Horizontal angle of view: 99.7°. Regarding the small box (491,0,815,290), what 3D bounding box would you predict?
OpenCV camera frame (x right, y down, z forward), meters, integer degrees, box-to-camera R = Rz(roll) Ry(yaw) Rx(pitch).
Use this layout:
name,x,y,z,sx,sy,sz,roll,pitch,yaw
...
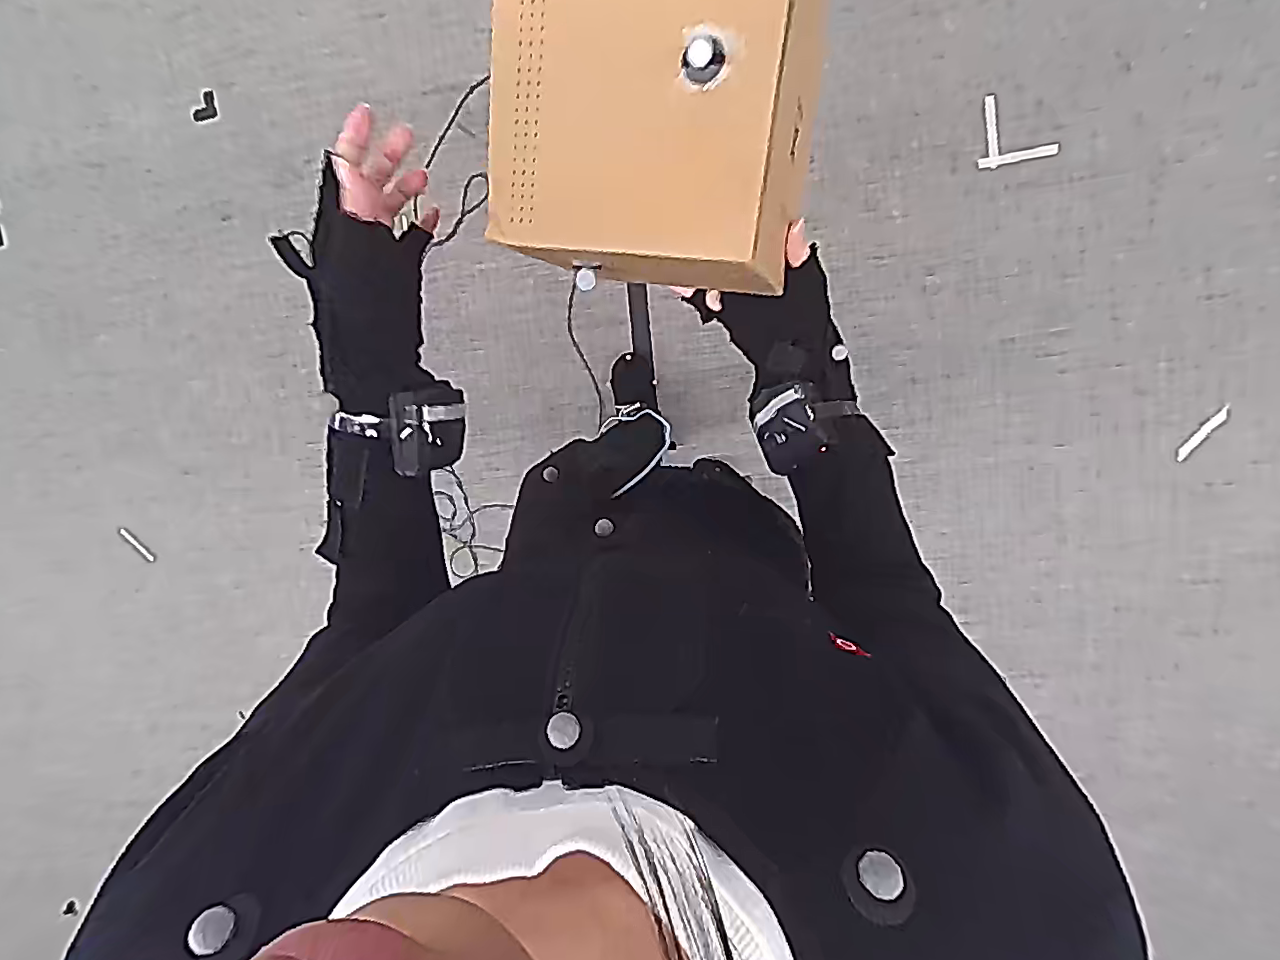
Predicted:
name,x,y,z,sx,sy,sz,roll,pitch,yaw
small box,0.016,-0.236,0.365,0.176,0.168,0.179,11,105,17
